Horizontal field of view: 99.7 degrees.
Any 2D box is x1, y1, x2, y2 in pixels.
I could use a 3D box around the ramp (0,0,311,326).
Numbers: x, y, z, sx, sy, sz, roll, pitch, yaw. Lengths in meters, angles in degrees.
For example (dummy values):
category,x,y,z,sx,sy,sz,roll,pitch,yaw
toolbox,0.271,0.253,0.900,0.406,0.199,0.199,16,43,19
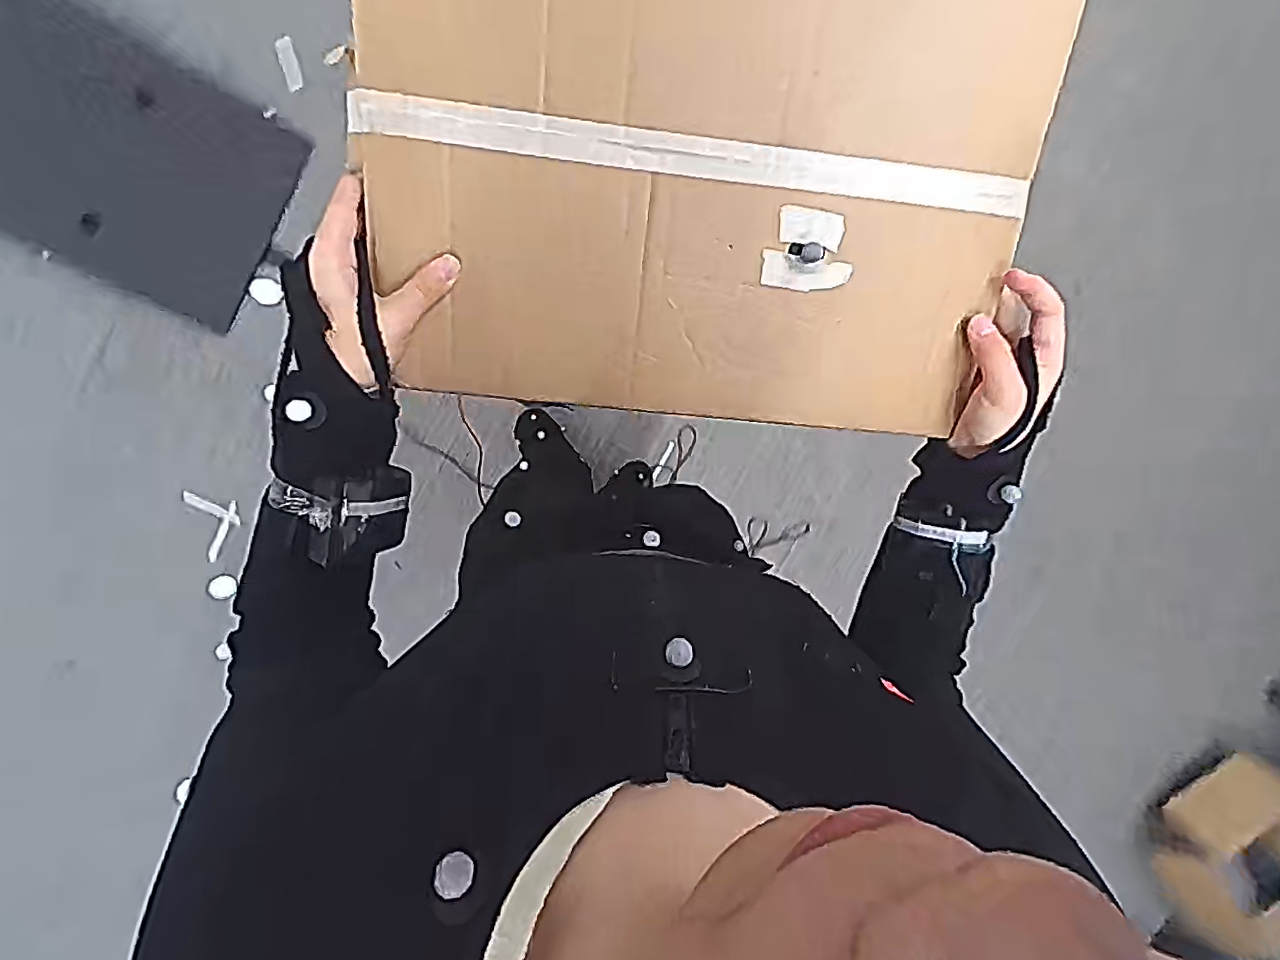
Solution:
category,x,y,z,sx,sy,sz,roll,pitch,yaw
ramp,-1.262,-0.778,1.070,0.991,0.206,0.509,27,93,-9
